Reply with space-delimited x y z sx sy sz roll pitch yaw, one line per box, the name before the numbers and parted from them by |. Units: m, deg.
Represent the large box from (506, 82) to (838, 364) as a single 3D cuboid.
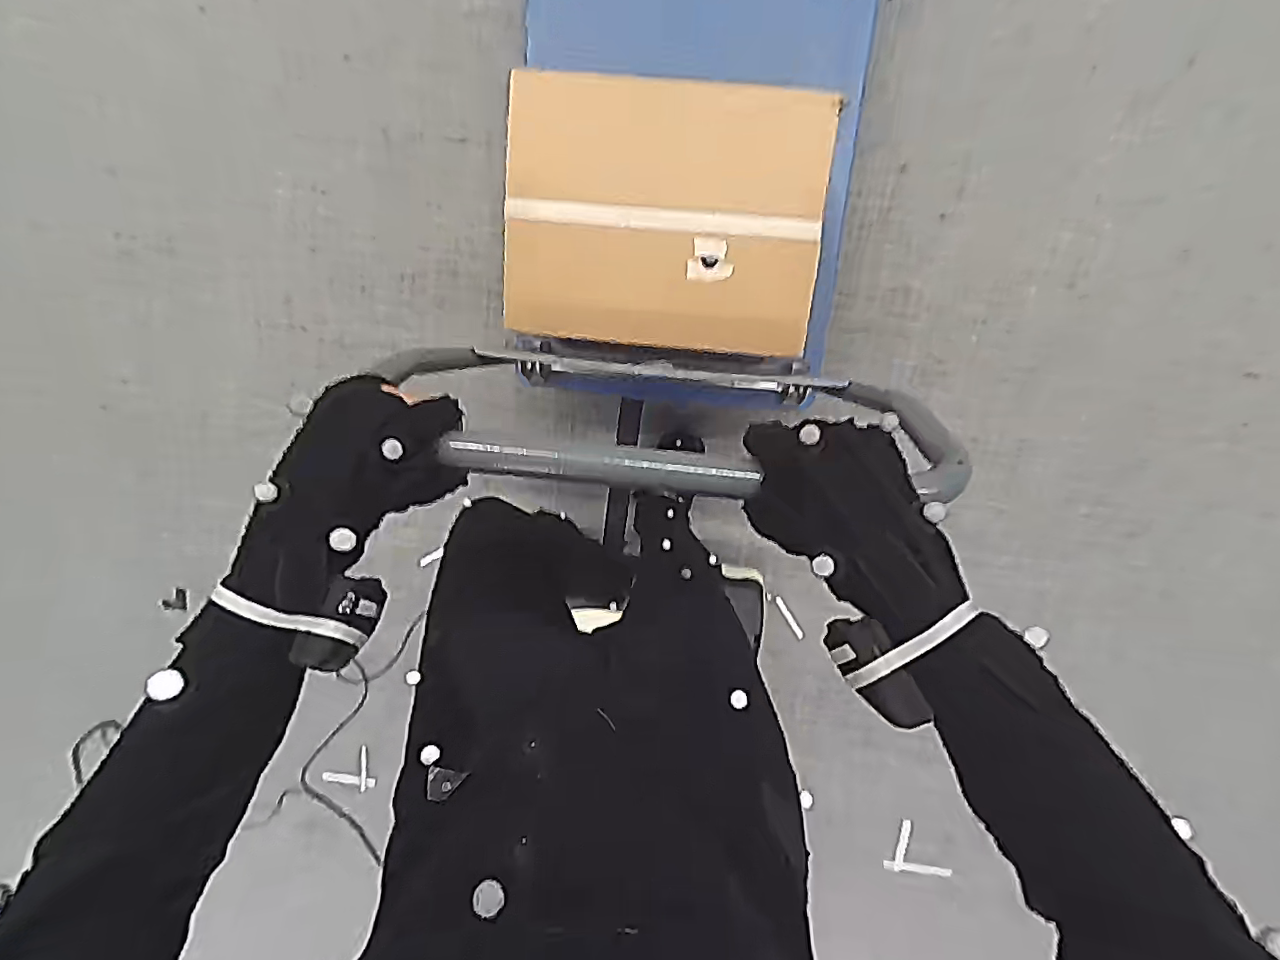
large box | 0.035 -0.350 0.828 0.408 0.320 0.320 6 103 2
